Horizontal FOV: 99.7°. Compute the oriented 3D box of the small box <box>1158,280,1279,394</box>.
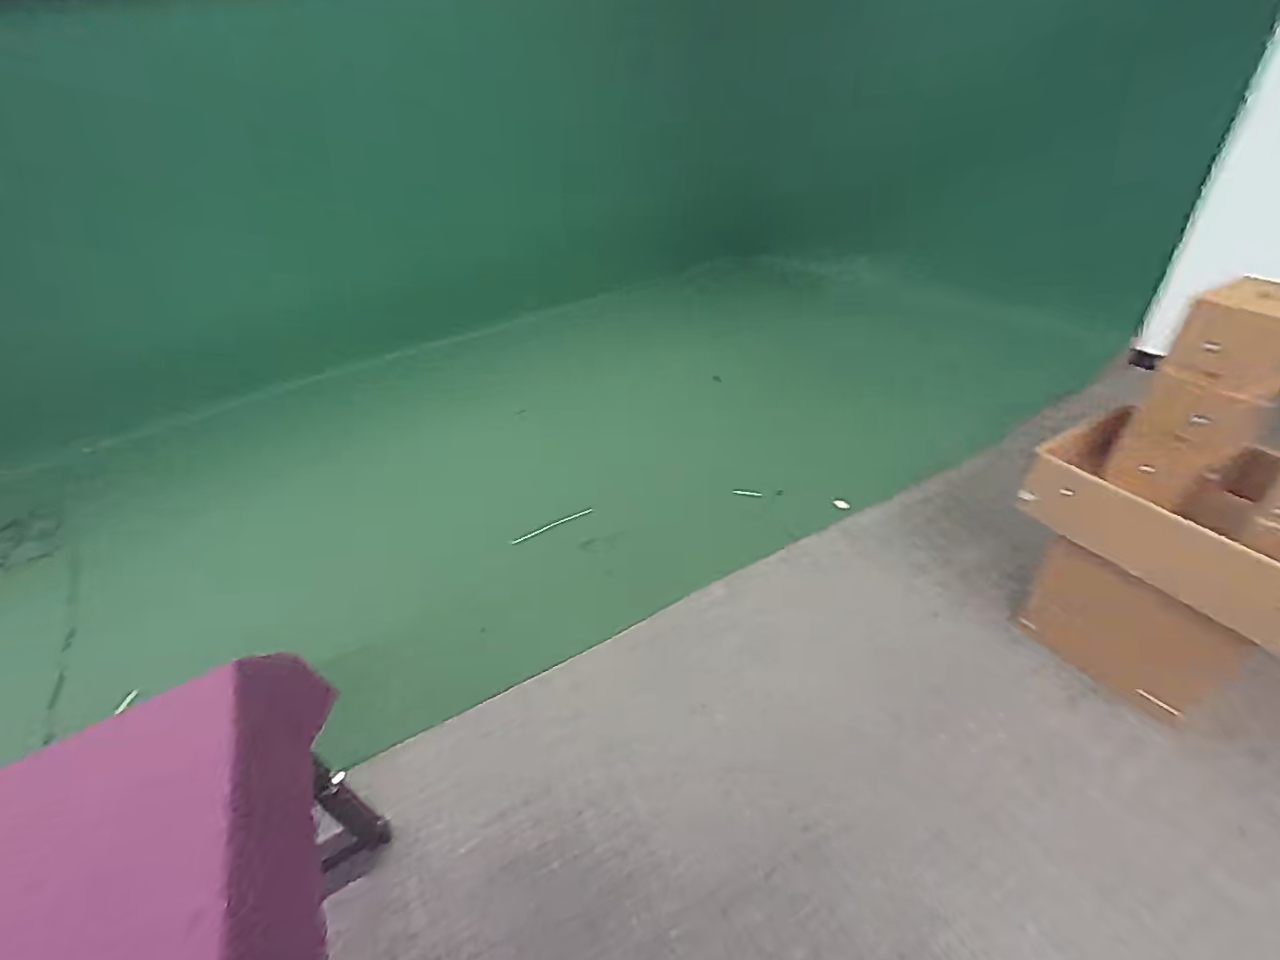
[{"bbox_3d":[1.278,-0.305,1.159,0.179,0.176,0.168,-20,41,-14],"label":"small box"}]

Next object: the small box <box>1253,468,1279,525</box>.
[{"bbox_3d":[1.321,0.014,1.007,0.179,0.176,0.168,-24,40,-19],"label":"small box"}]

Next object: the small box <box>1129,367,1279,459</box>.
[{"bbox_3d":[1.296,-0.173,1.255,0.179,0.176,0.168,-21,41,-15],"label":"small box"}]
